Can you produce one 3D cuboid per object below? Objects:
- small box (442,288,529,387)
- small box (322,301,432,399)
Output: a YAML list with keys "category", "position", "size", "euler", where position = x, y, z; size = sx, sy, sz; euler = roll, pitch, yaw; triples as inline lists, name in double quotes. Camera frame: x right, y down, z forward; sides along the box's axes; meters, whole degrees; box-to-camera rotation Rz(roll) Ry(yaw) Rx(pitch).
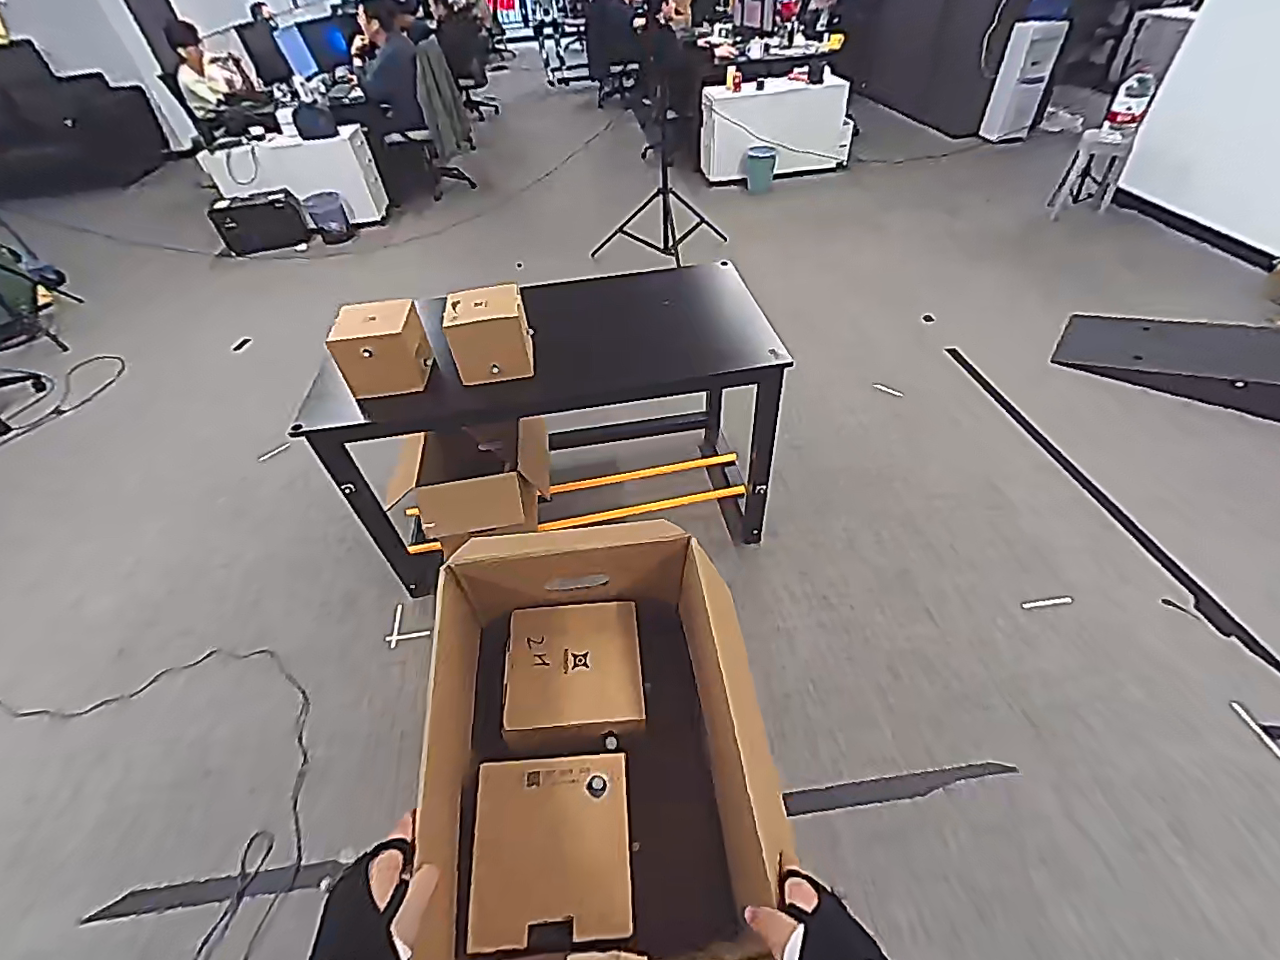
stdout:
- category: "small box"
  position: [-0.373, -0.352, 1.340]
  size: [0.179, 0.176, 0.168]
  euler: [-9, 45, -5]
- category: "small box"
  position: [-0.634, -0.315, 1.327]
  size: [0.179, 0.176, 0.168]
  euler: [-7, 46, -4]
